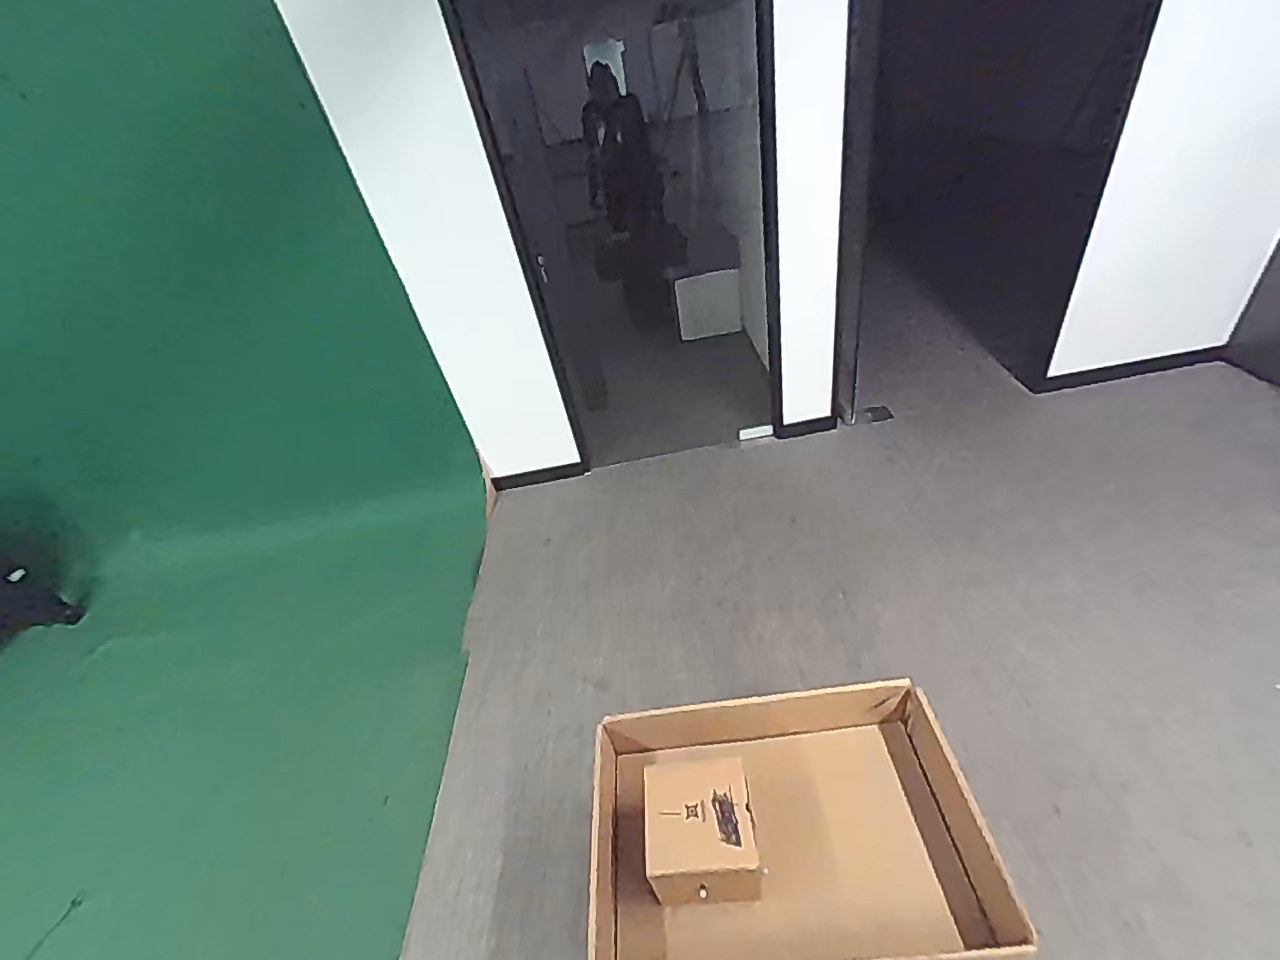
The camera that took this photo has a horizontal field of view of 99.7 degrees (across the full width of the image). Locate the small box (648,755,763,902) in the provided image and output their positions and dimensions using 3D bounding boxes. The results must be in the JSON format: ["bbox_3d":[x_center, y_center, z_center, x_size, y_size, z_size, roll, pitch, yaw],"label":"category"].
[{"bbox_3d":[0.112,0.596,0.923,0.179,0.176,0.168,-9,38,7],"label":"small box"}]
